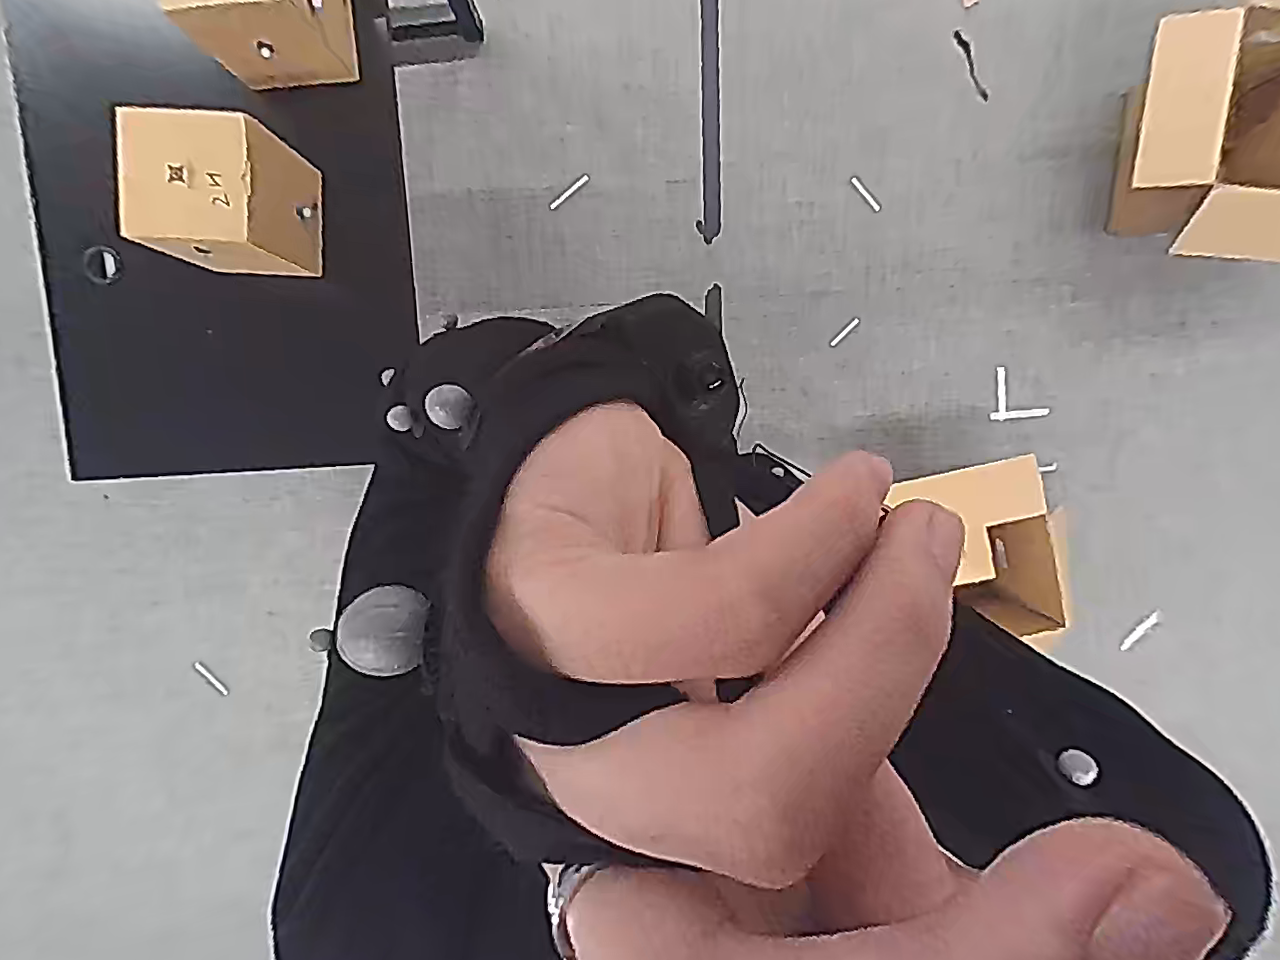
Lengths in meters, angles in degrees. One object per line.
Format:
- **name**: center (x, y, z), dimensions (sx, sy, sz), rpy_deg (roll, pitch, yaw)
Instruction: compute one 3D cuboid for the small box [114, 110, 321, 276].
- **small box**: center (-0.603, -0.406, 0.791), dimensions (0.179, 0.176, 0.168), rpy_deg (2, 96, 0)
